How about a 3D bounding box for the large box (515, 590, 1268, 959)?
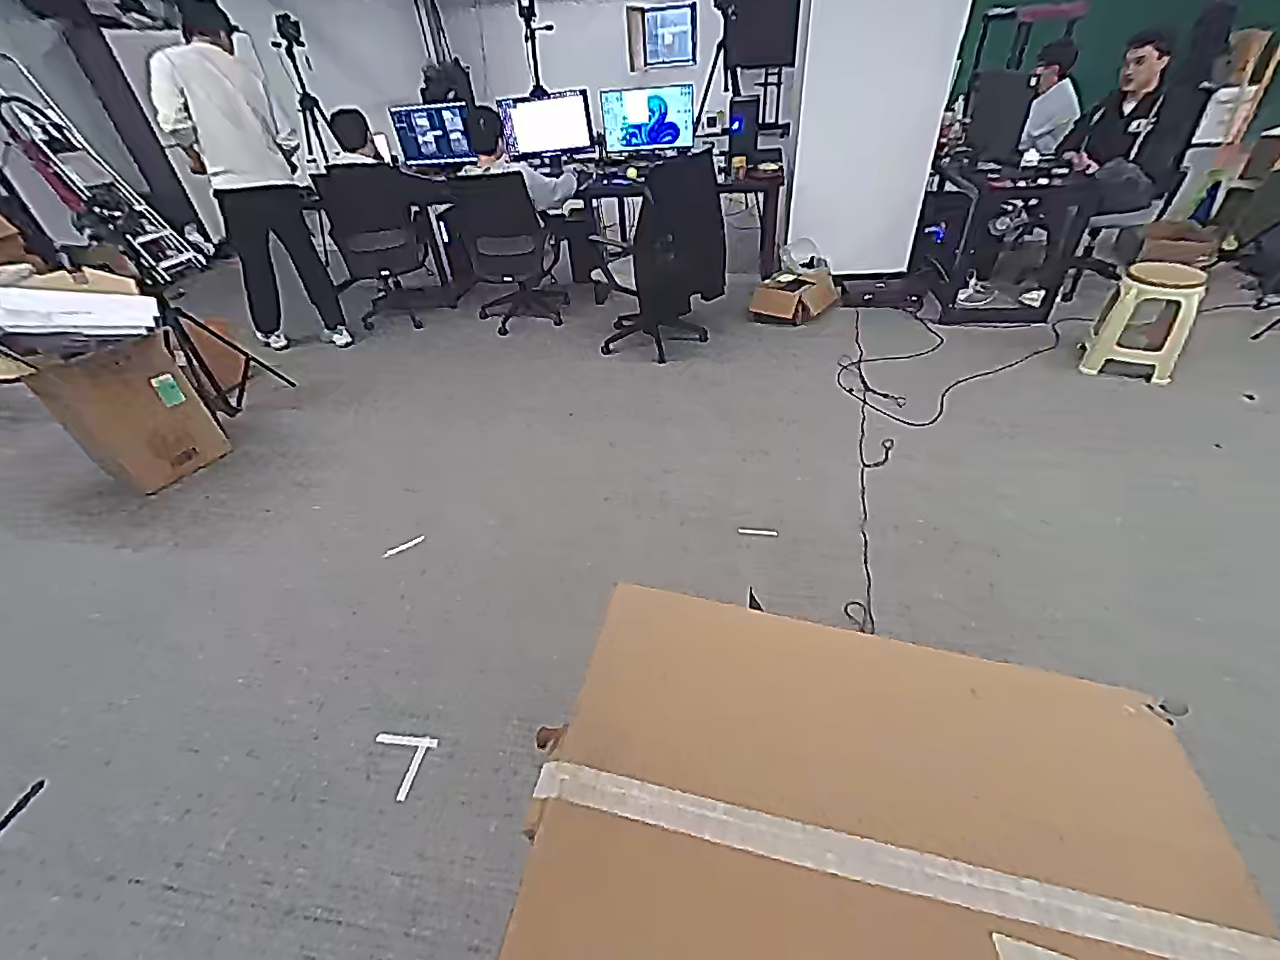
[{"bbox_3d":[0.135,0.333,0.416,0.408,0.320,0.320,11,42,7],"label":"large box"}]
